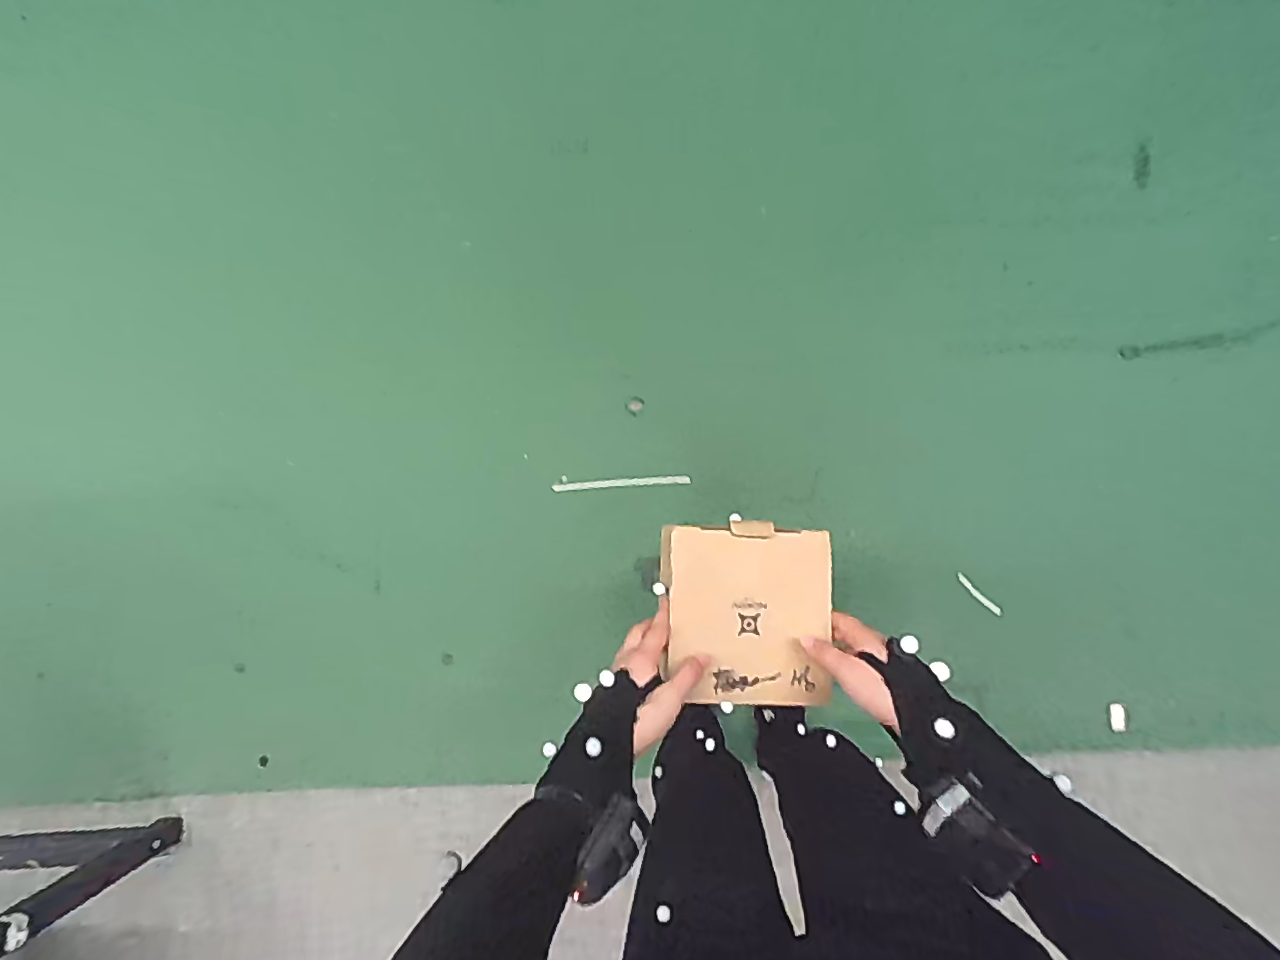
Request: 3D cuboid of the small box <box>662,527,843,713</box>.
[{"bbox_3d":[0.115,0.146,0.612,0.168,0.176,0.179,3,85,-3],"label":"small box"}]
